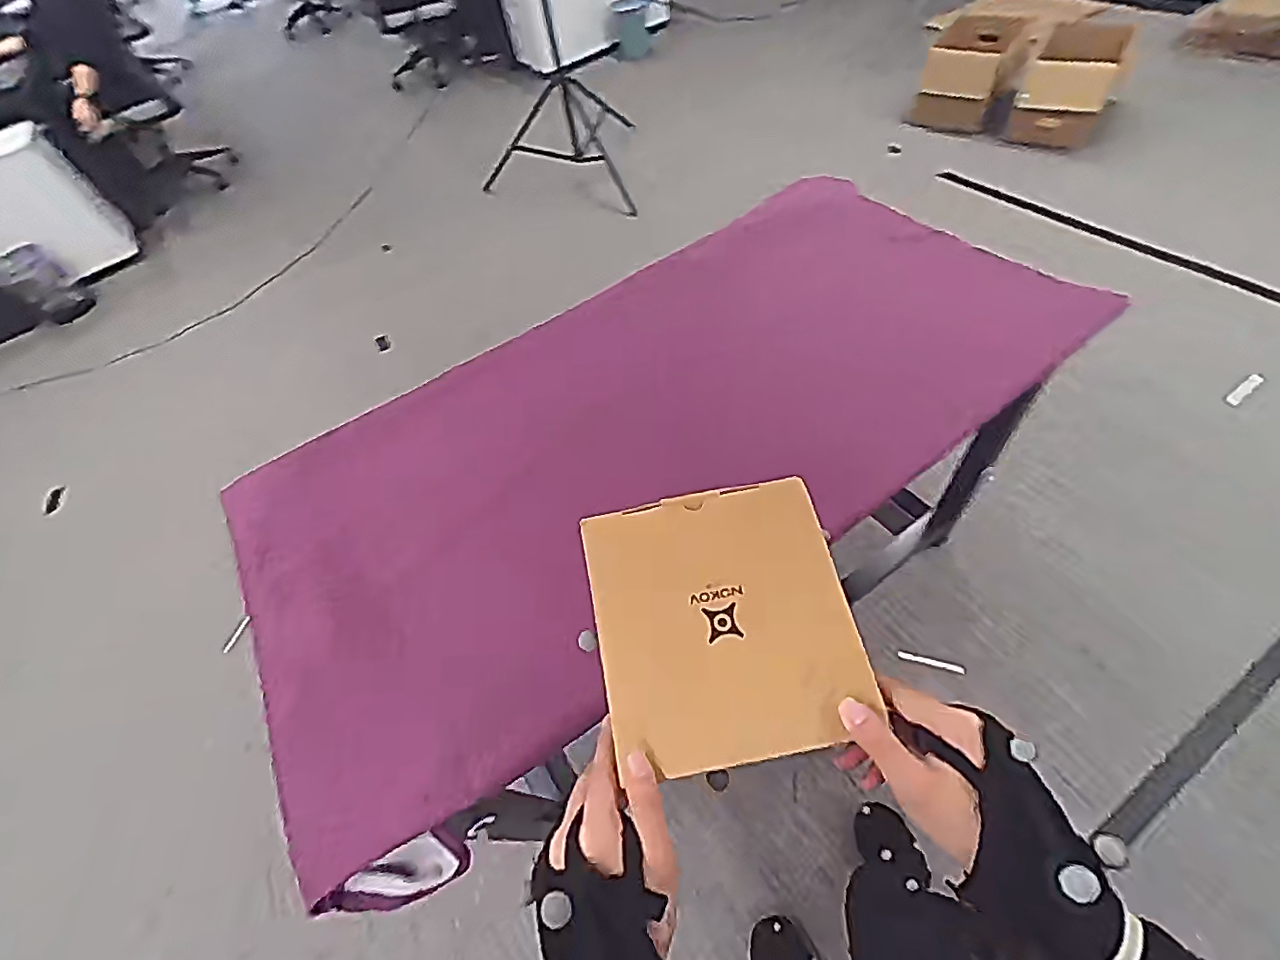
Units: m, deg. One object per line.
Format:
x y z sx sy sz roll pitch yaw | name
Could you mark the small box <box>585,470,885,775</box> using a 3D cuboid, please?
0.061 0.119 0.428 0.168 0.176 0.179 -11 62 0 | small box
